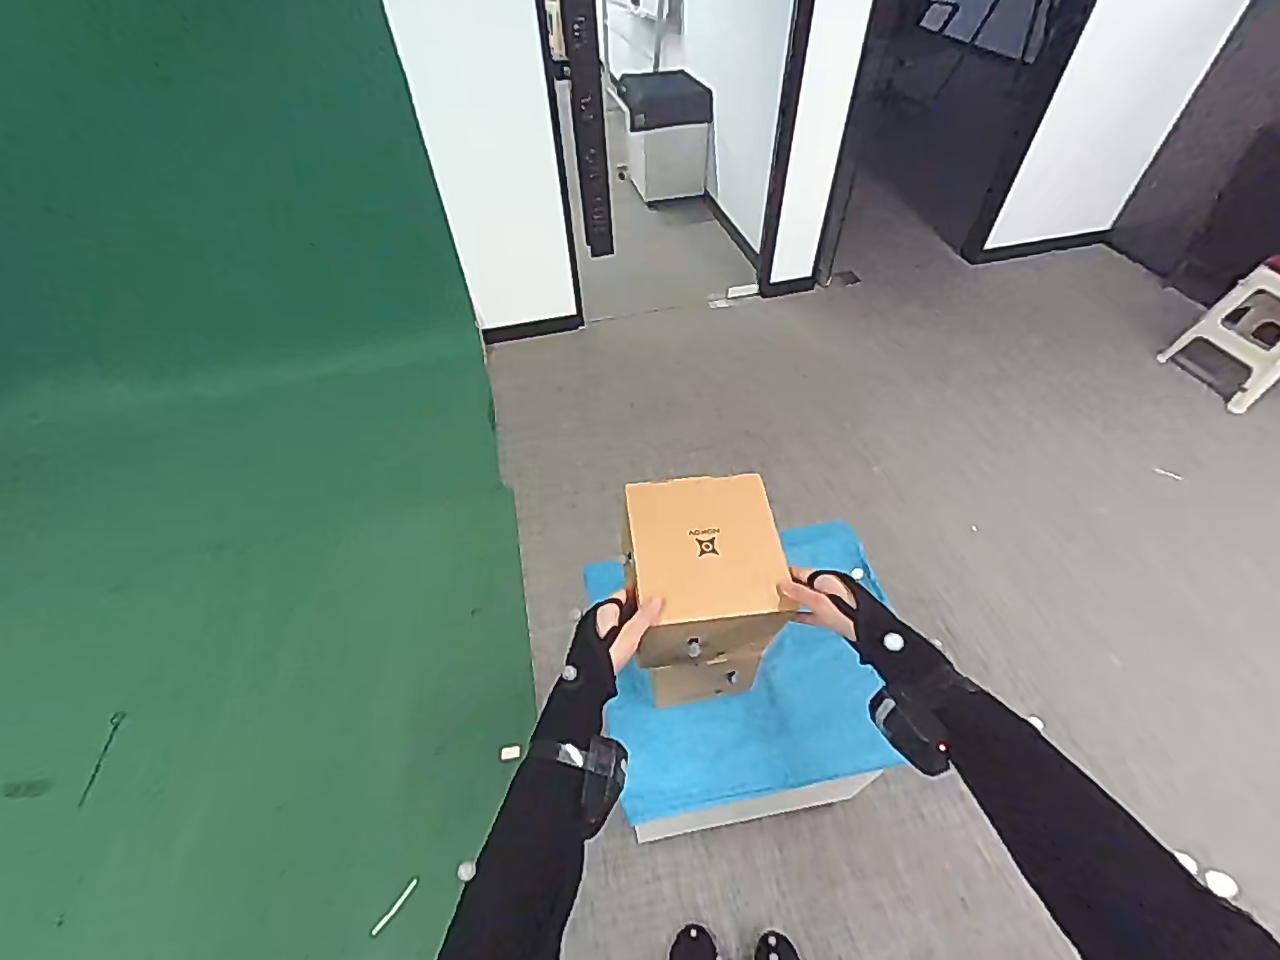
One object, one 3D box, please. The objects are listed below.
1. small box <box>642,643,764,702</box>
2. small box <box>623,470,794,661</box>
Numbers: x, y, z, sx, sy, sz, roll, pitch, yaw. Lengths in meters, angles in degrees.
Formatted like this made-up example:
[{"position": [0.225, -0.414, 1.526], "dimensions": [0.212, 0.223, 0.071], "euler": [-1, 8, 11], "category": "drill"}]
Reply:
[{"position": [0.085, 0.239, 0.869], "dimensions": [0.168, 0.176, 0.179], "euler": [-8, 48, -6], "category": "small box"}, {"position": [0.069, 0.111, 0.659], "dimensions": [0.168, 0.176, 0.179], "euler": [-5, 55, -6], "category": "small box"}]
